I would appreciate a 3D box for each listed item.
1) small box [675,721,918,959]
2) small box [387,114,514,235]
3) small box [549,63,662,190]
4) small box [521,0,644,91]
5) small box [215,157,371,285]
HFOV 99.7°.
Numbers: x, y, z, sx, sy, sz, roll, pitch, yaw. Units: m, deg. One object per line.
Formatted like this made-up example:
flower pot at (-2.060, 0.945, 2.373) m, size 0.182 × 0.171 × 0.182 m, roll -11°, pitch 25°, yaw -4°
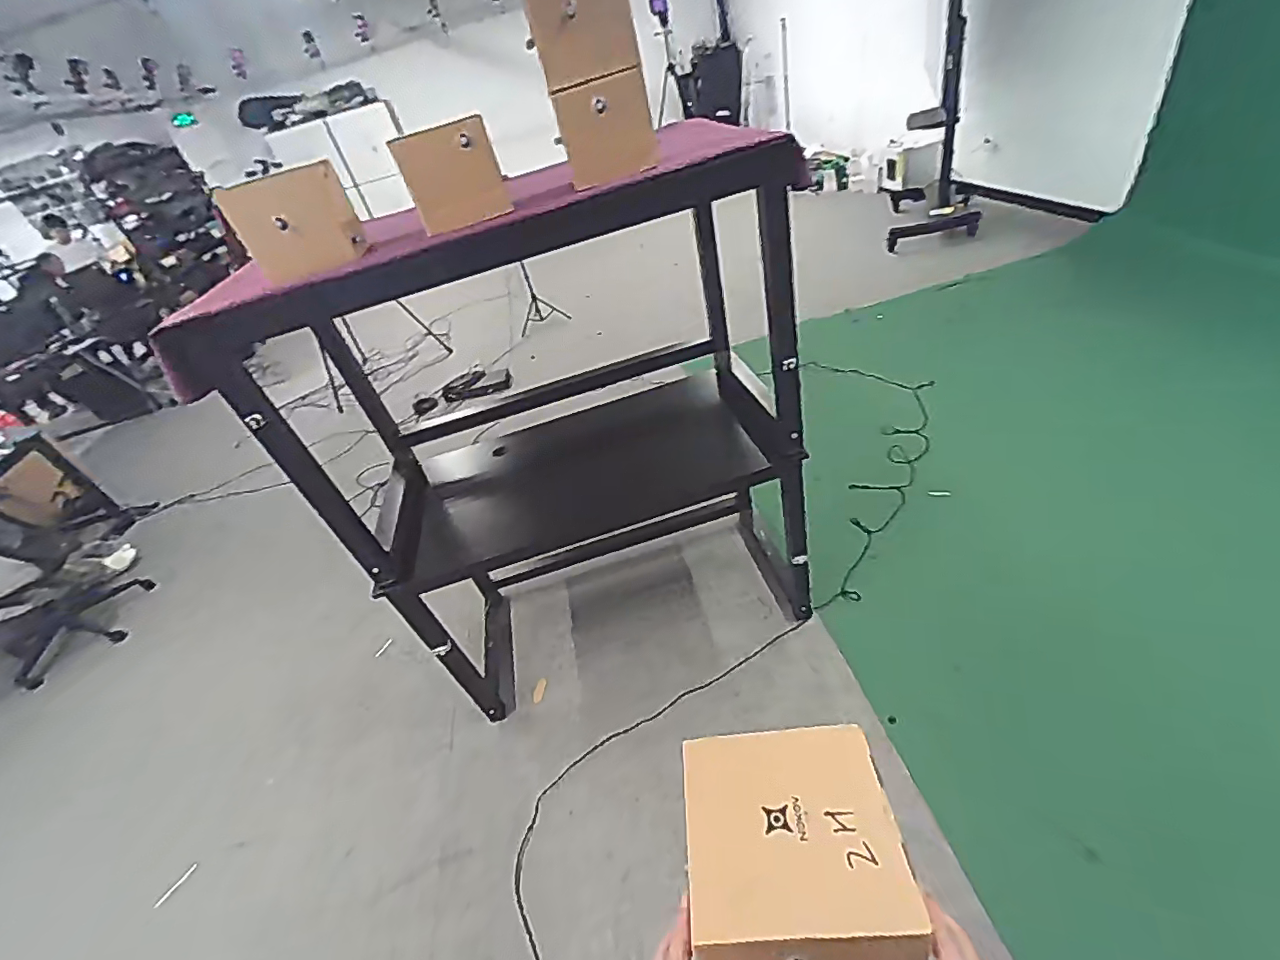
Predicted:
small box at (0.134, 0.354, 0.501) m, size 0.179 × 0.176 × 0.168 m, roll -9°, pitch 32°, yaw 7°
small box at (-0.362, -0.601, 1.067) m, size 0.179 × 0.176 × 0.168 m, roll -18°, pitch 37°, yaw -2°
small box at (-0.068, -0.692, 1.065) m, size 0.179 × 0.176 × 0.168 m, roll -16°, pitch 37°, yaw 2°
small box at (-0.107, -0.816, 0.967) m, size 0.179 × 0.176 × 0.168 m, roll -17°, pitch 38°, yaw 2°
small box at (-0.656, -0.503, 1.051) m, size 0.179 × 0.176 × 0.168 m, roll -20°, pitch 37°, yaw -3°
